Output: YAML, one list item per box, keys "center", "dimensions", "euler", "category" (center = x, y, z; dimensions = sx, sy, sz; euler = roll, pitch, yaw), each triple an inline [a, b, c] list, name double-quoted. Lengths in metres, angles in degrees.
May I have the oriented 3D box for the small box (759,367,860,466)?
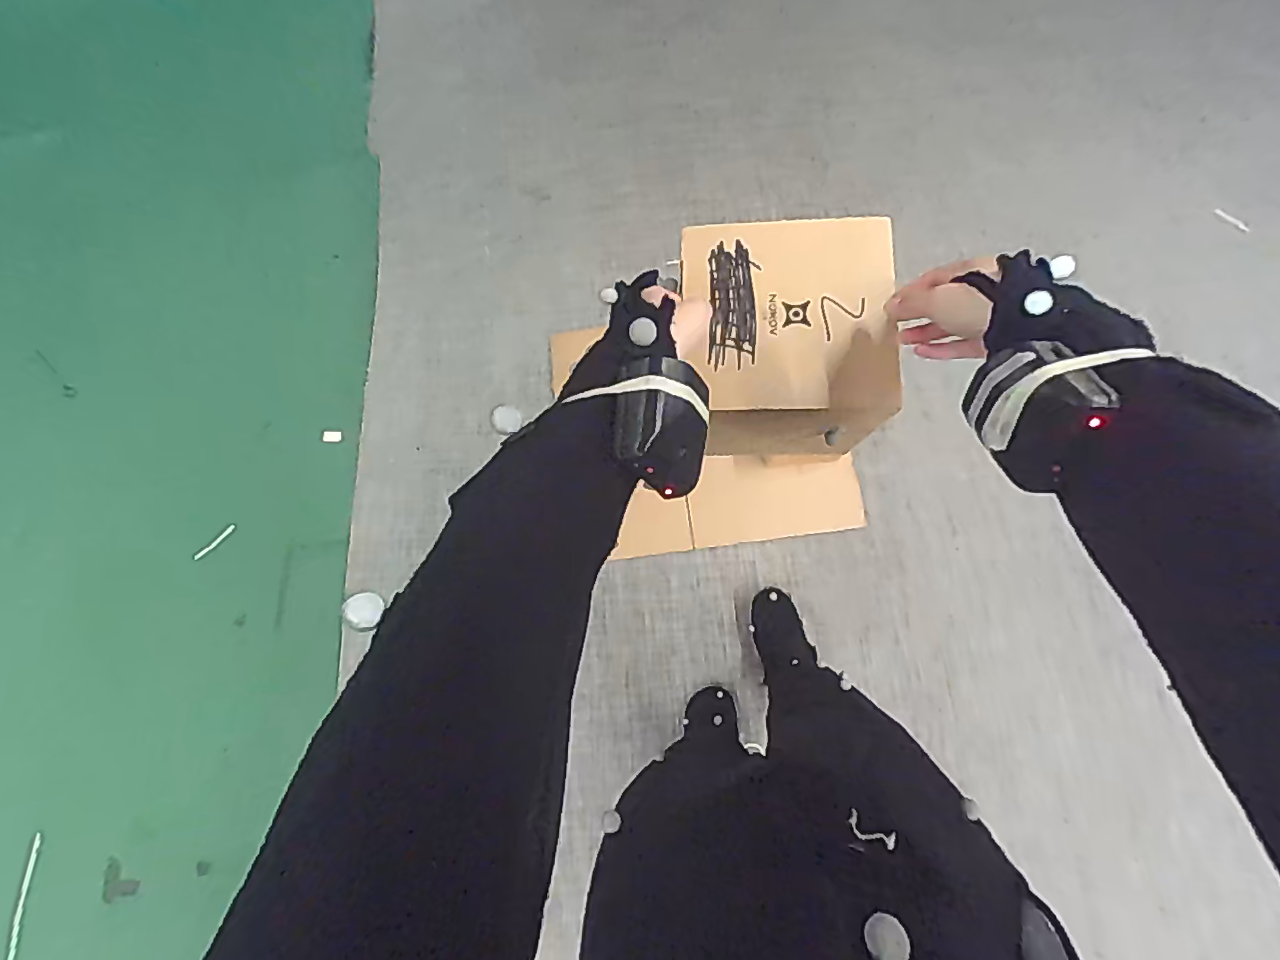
- center: [0.372, -0.138, 1.225]
  dimensions: [0.179, 0.176, 0.168]
  euler: [-6, 74, 1]
  category: "small box"
